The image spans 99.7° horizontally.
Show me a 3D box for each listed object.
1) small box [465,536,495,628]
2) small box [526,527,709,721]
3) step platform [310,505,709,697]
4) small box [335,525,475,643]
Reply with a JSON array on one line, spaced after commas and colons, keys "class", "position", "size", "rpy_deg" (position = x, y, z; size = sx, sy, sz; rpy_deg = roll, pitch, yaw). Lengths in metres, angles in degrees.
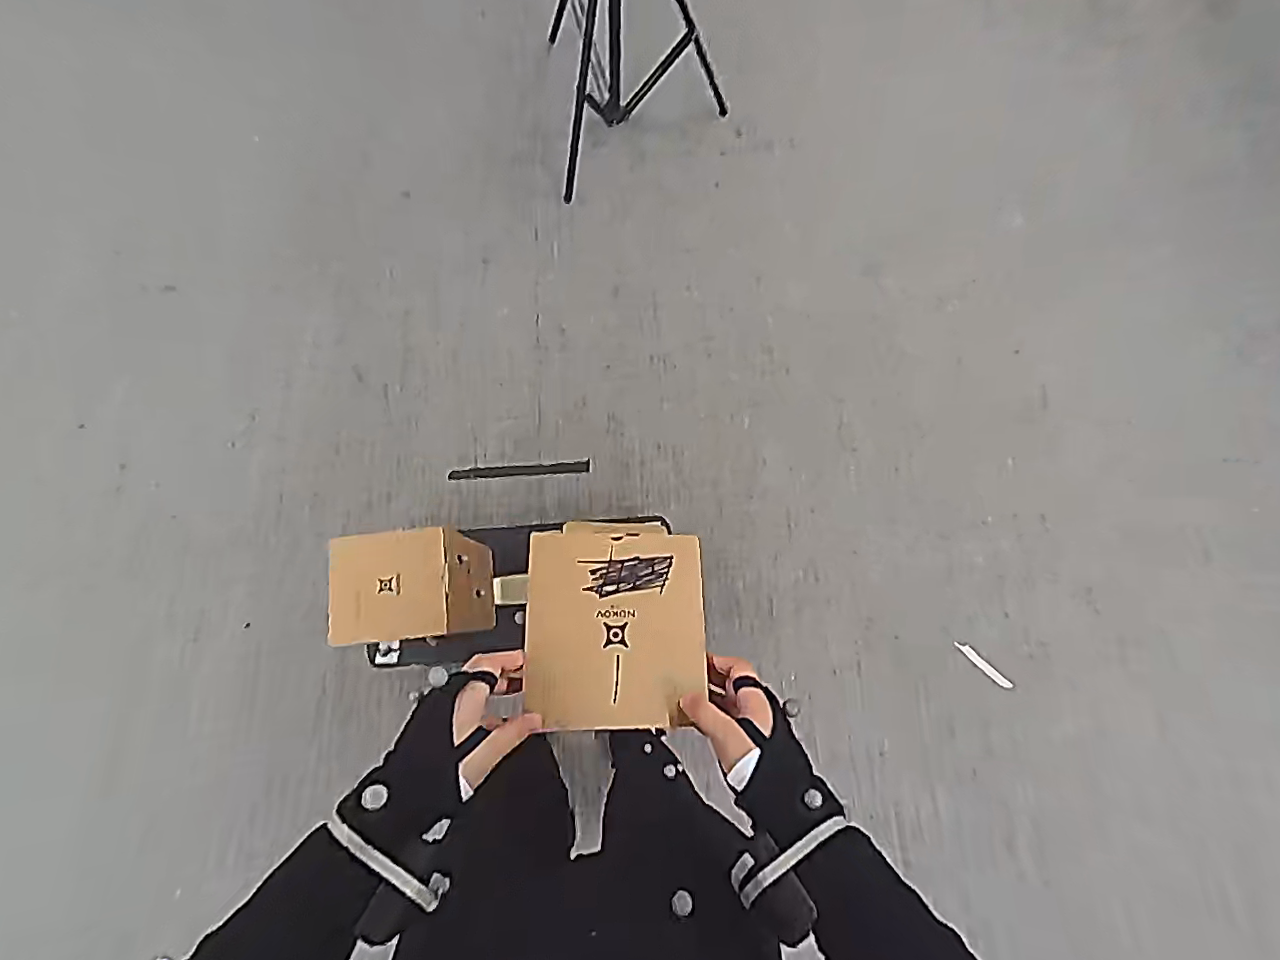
[{"class": "small box", "position": [-0.388, 0.210, 1.064], "size": [0.179, 0.176, 0.168], "rpy_deg": [-6, 78, -4]}, {"class": "small box", "position": [-0.030, 0.158, 0.579], "size": [0.168, 0.176, 0.179], "rpy_deg": [1, 69, -7]}, {"class": "step platform", "position": [-0.225, 0.225, 1.031], "size": [0.684, 0.204, 0.286], "rpy_deg": [-4, 77, -4]}, {"class": "small box", "position": [-0.381, 0.174, 0.905], "size": [0.179, 0.176, 0.168], "rpy_deg": [-7, 76, -4]}]
